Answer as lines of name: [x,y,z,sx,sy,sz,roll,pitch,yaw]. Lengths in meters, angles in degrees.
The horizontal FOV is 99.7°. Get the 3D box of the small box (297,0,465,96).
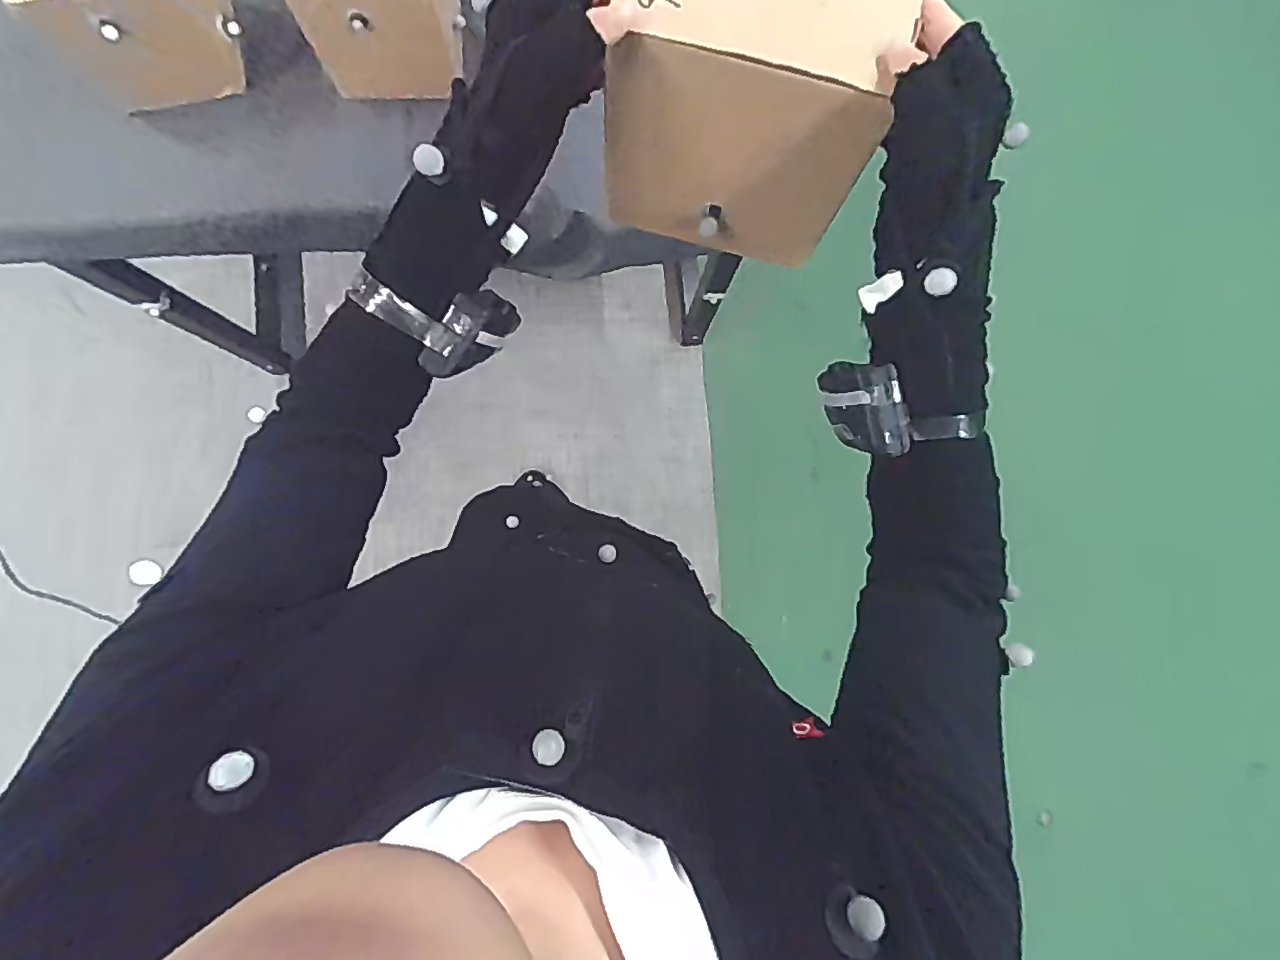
small box: [-0.348,-0.657,0.730,0.179,0.176,0.168,-3,84,-5]

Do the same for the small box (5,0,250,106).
small box: [-0.662,-0.631,0.708,0.179,0.176,0.168,-13,86,-6]

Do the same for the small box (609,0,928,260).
small box: [0.082,-0.292,0.396,0.179,0.176,0.168,15,78,-1]
